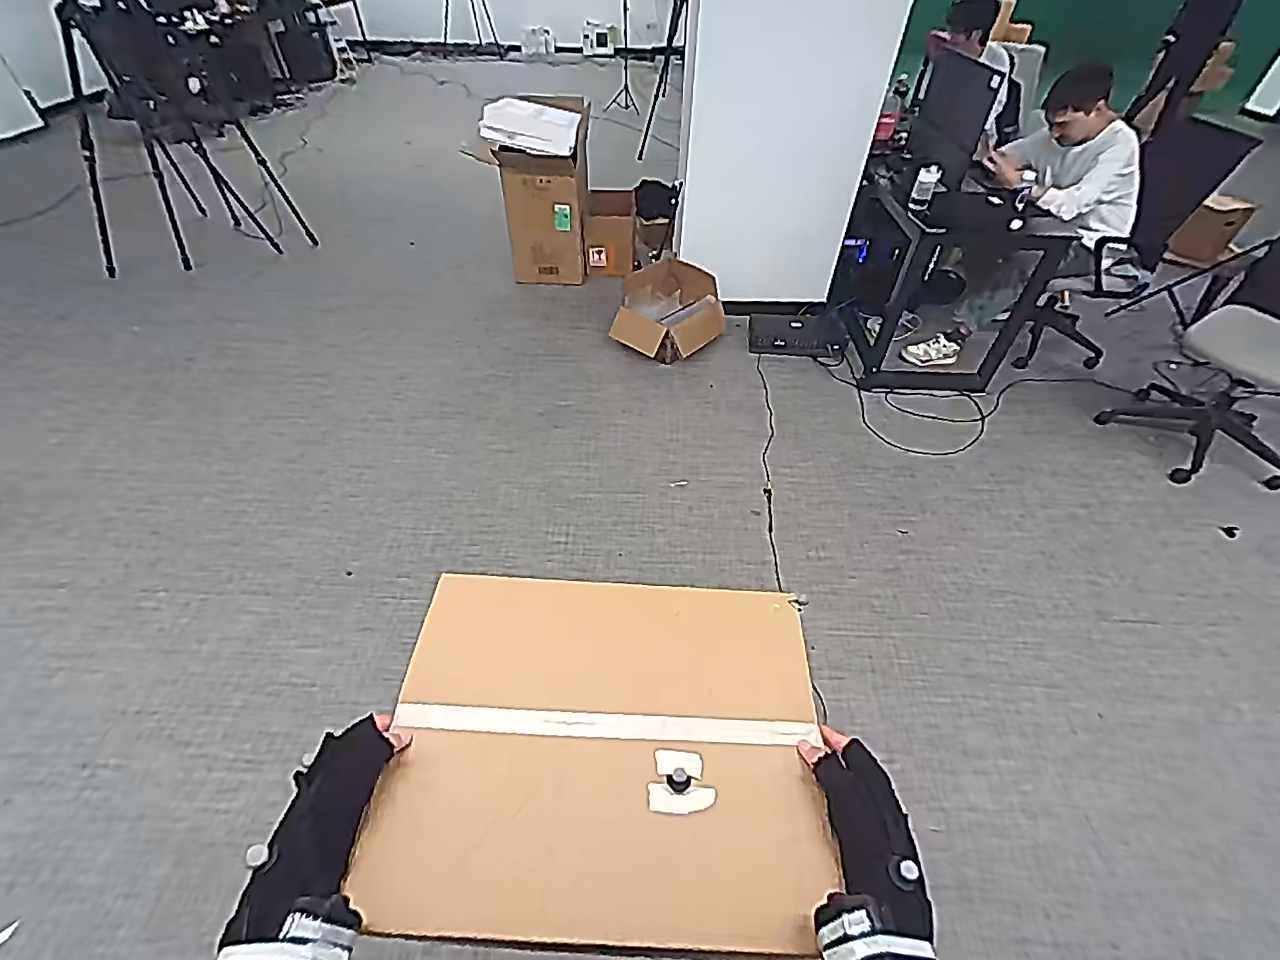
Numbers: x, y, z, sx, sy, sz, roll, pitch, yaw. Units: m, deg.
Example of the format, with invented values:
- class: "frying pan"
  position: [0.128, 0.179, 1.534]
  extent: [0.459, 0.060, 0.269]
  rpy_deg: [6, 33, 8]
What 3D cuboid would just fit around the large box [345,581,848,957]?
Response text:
- class: "large box"
  position: [-0.037, 0.339, 0.629]
  extent: [0.408, 0.320, 0.320]
  rpy_deg: [4, 48, -1]
